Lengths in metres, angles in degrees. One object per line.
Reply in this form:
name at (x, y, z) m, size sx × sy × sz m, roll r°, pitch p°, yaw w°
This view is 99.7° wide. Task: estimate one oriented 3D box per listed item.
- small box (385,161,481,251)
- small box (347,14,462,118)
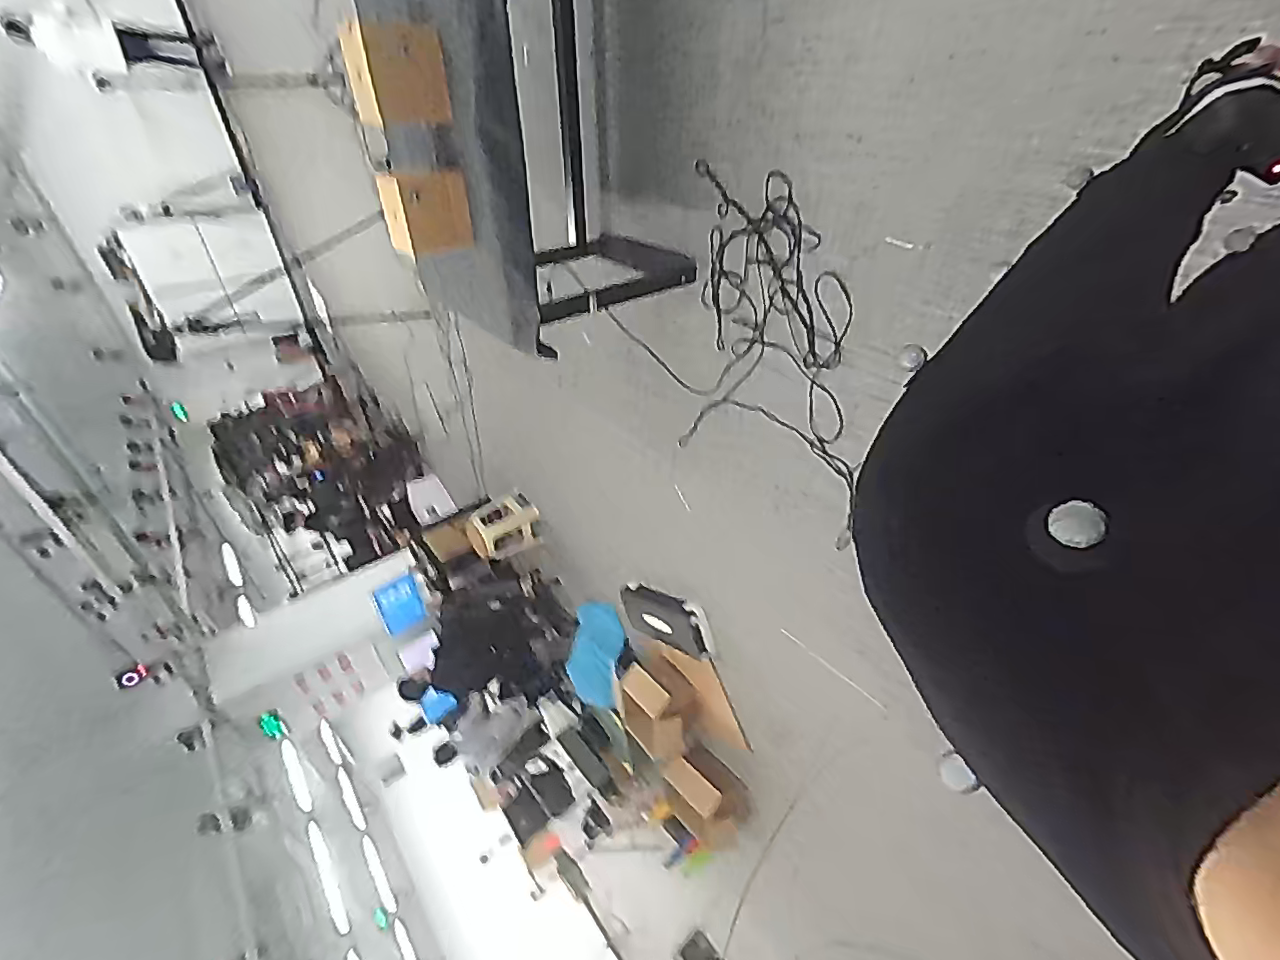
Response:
small box at (-0.527, -0.709, 1.393) m, size 0.168 × 0.176 × 0.179 m, roll 36°, pitch 140°, yaw 40°
small box at (-0.525, -0.931, 1.221) m, size 0.168 × 0.176 × 0.179 m, roll 38°, pitch 143°, yaw 40°
